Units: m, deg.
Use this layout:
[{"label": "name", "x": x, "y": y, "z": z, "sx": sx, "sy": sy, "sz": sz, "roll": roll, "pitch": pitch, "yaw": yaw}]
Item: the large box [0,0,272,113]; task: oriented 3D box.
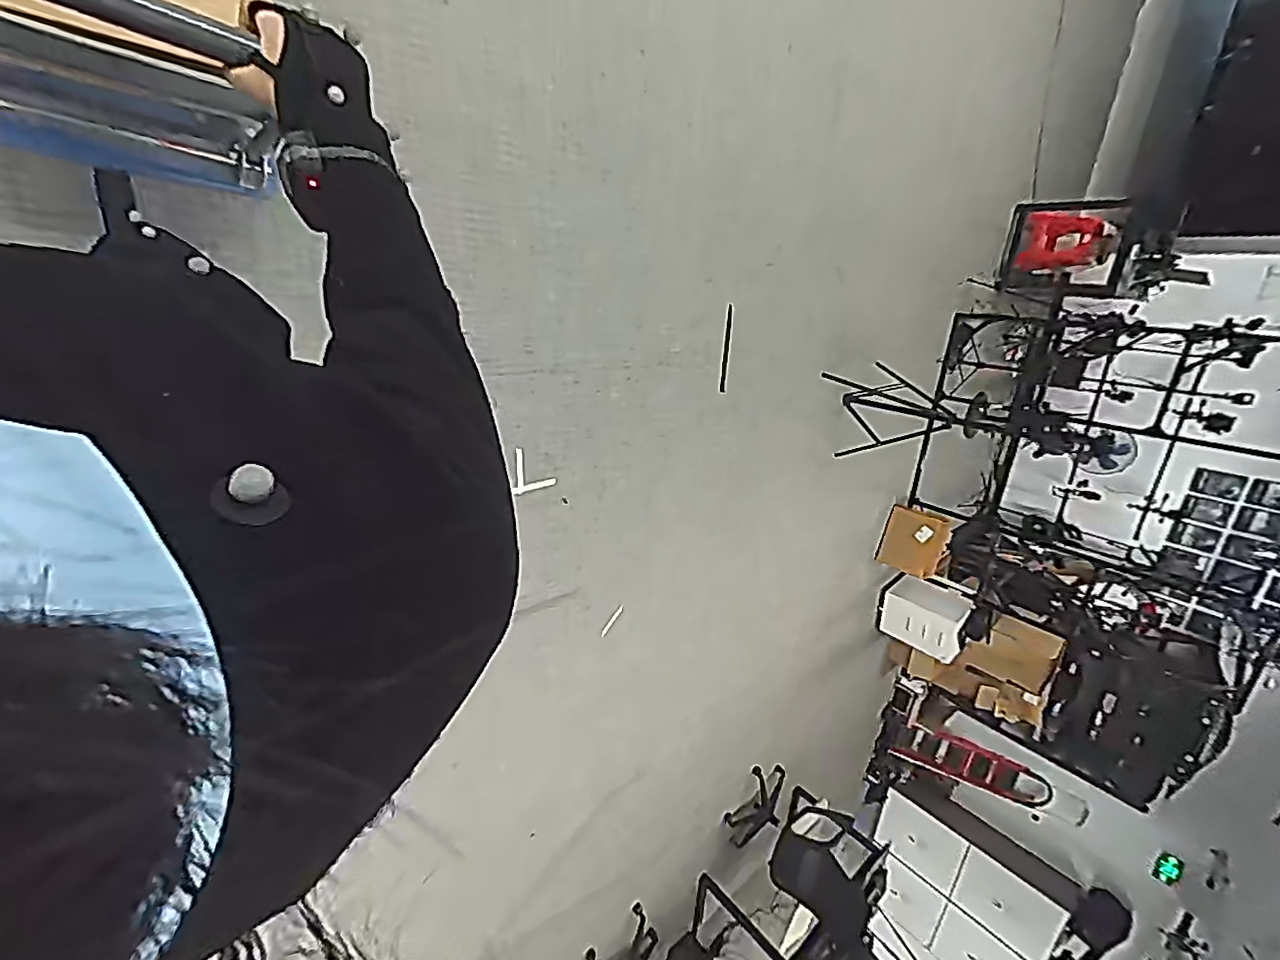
[{"label": "large box", "x": -0.755, "y": -0.720, "z": 0.685, "sx": 0.408, "sy": 0.320, "sz": 0.320, "roll": -12, "pitch": 116, "yaw": -42}]
